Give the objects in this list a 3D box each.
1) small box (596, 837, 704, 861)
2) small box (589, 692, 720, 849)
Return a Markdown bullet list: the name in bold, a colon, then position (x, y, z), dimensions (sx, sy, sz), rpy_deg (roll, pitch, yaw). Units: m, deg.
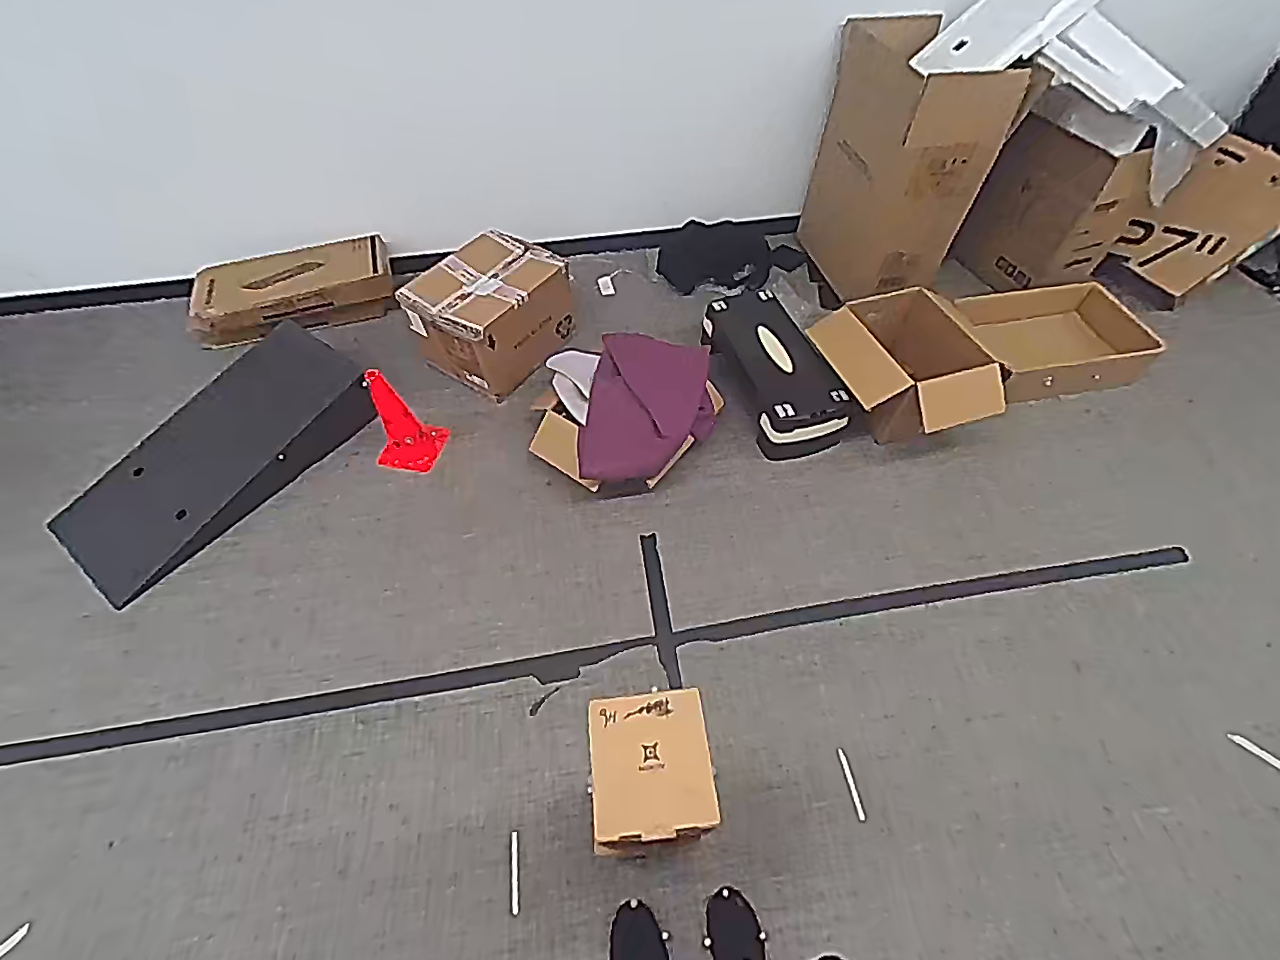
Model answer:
- **small box**: position (0.013, 0.539, 0.921), dimensions (0.168, 0.176, 0.179), rpy_deg (-3, 55, 0)
- **small box**: position (0.018, 0.430, 0.797), dimensions (0.168, 0.176, 0.179), rpy_deg (-6, 55, -2)
